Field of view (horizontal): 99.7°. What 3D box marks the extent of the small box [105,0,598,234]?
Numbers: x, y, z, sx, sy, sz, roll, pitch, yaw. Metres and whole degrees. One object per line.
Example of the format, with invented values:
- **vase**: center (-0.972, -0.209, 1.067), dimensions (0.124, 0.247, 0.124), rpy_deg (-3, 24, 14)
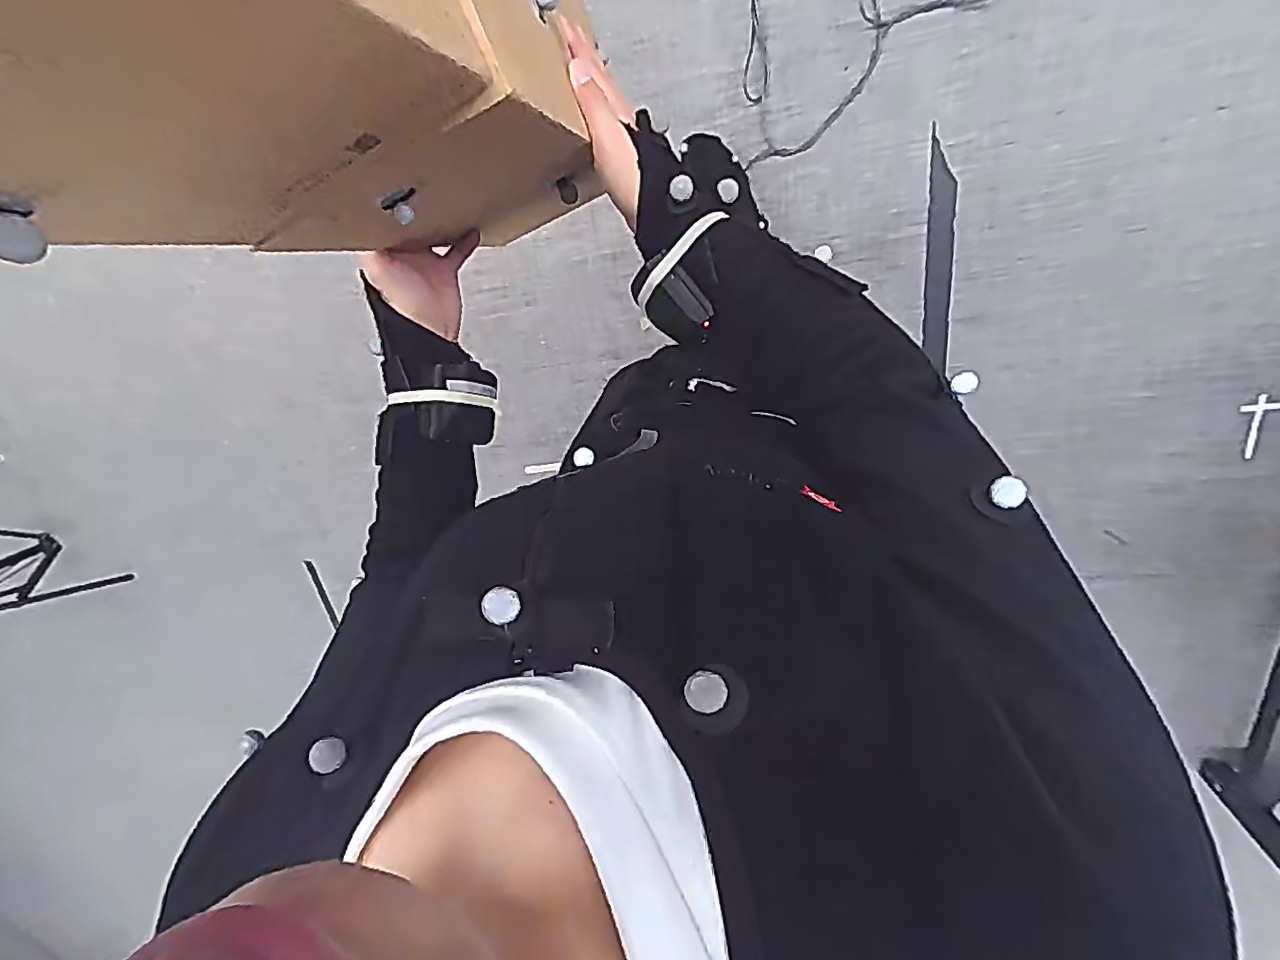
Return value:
- **small box**: center (-0.147, -0.254, 0.308), dimensions (0.179, 0.176, 0.168), rpy_deg (-17, 109, 18)
